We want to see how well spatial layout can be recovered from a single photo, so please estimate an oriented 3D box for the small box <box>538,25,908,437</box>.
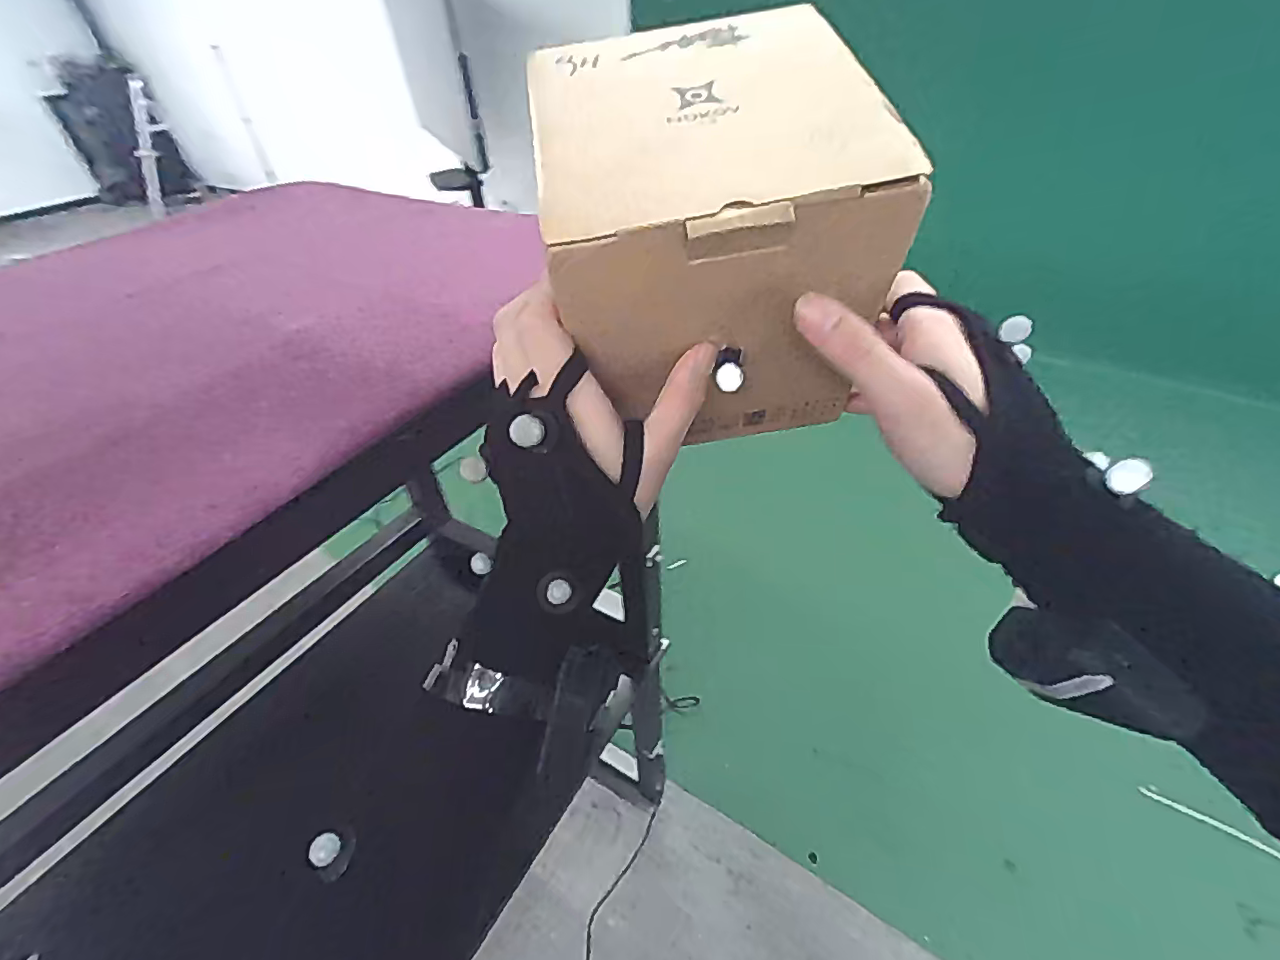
[{"bbox_3d":[0.037,-0.142,0.349,0.168,0.176,0.179,-9,60,0],"label":"small box"}]
